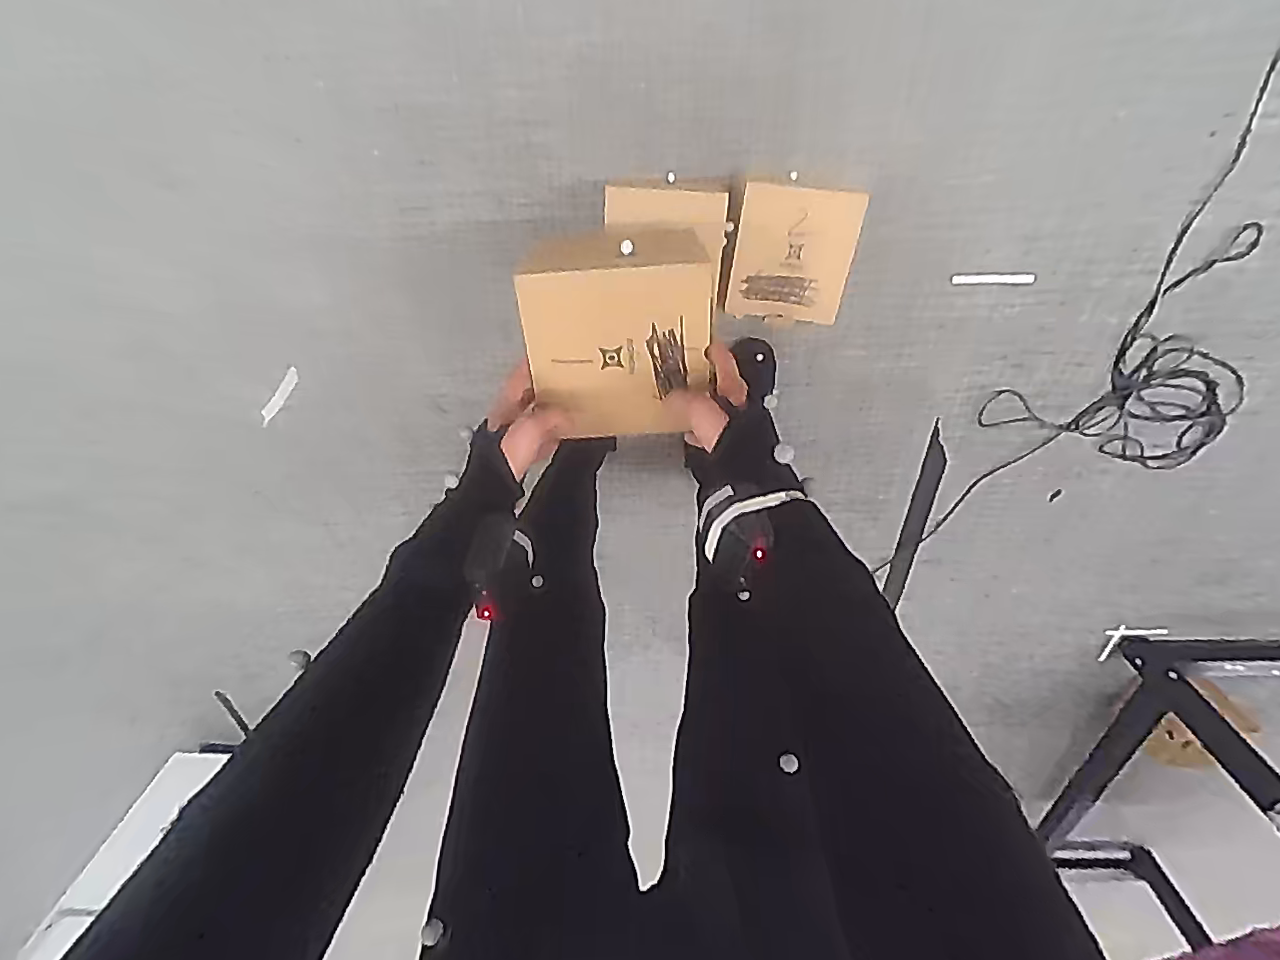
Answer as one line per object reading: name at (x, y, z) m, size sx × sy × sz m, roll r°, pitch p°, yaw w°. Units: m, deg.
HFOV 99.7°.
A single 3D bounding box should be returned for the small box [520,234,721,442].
small box at (-0.016, -0.155, 0.571) m, size 0.179 × 0.176 × 0.168 m, roll -3°, pitch 124°, yaw 1°
